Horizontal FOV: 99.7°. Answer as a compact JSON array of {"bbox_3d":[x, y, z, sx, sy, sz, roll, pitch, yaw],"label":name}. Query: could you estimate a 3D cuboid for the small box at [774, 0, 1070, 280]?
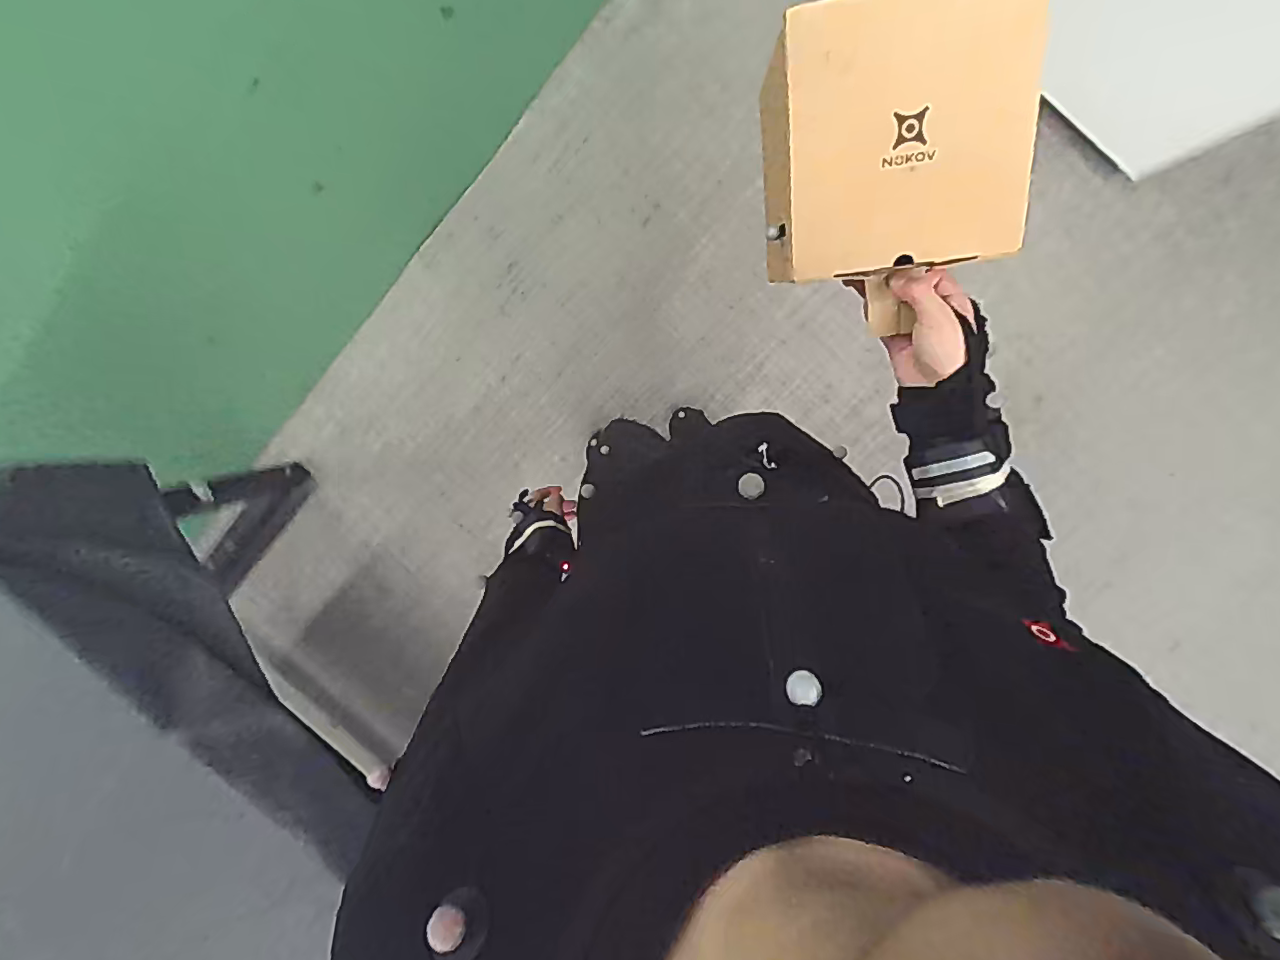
[{"bbox_3d":[0.205,-0.266,0.447,0.168,0.176,0.179,-4,111,8],"label":"small box"}]
